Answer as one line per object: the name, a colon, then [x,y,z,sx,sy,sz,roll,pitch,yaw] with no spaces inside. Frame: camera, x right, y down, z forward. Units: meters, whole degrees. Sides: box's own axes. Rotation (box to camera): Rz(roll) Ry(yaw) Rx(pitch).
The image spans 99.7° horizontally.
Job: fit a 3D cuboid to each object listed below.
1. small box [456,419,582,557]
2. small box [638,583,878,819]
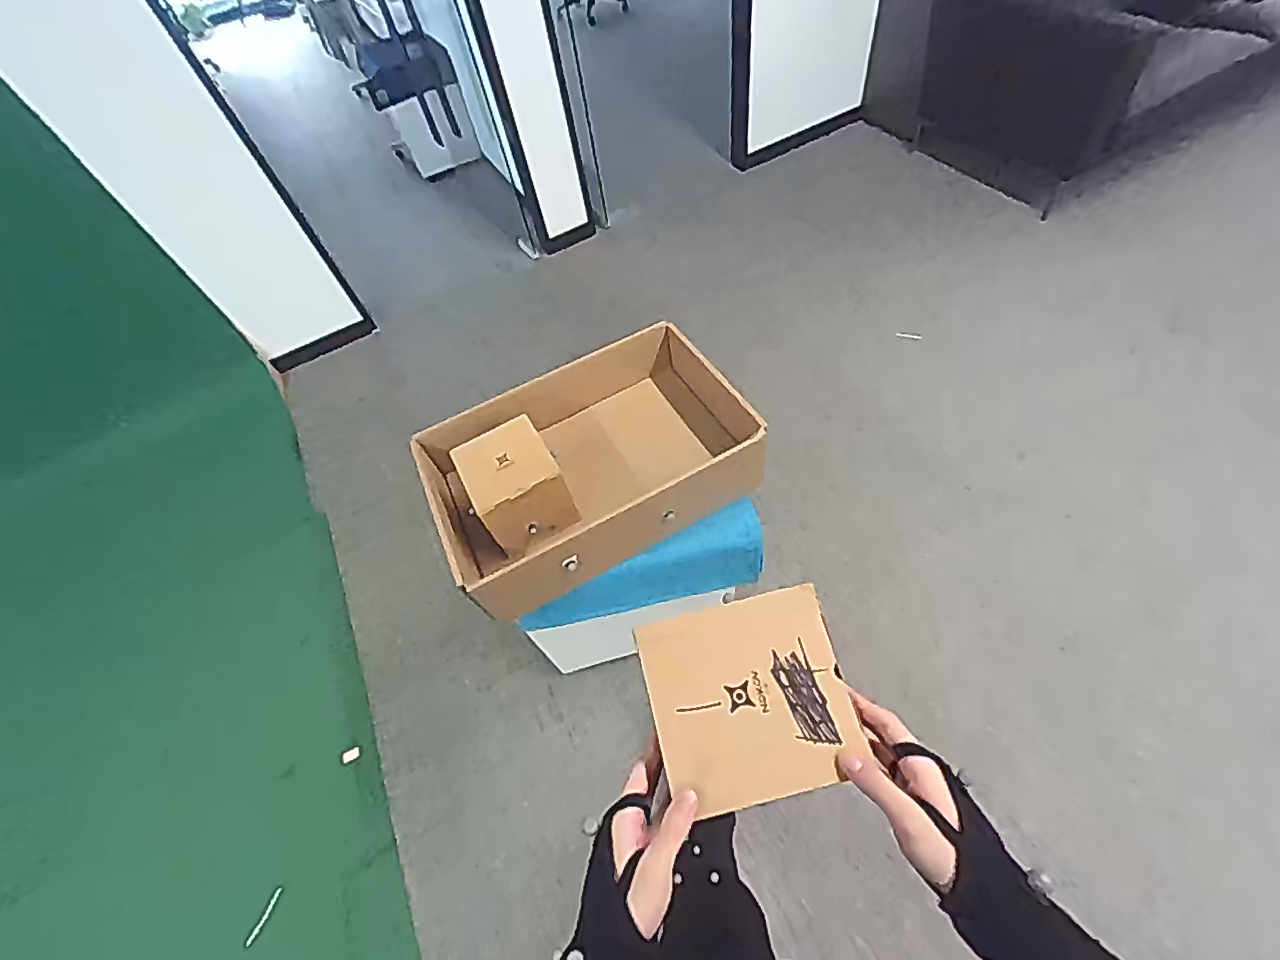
small box: [-0.233,0.019,1.063,0.168,0.176,0.179,-28,55,-11]
small box: [0.103,0.216,0.551,0.179,0.176,0.168,-14,68,-1]
